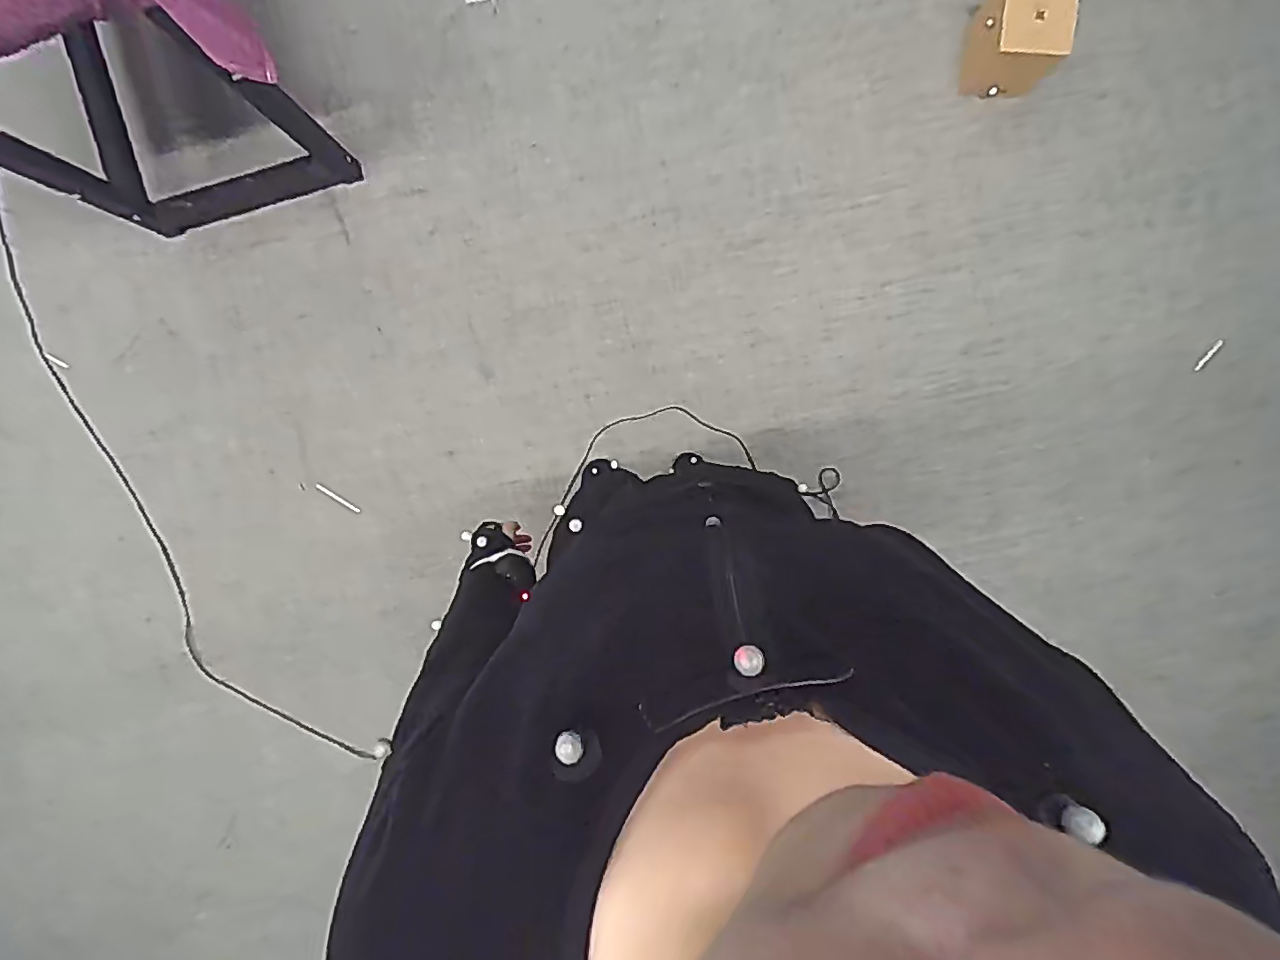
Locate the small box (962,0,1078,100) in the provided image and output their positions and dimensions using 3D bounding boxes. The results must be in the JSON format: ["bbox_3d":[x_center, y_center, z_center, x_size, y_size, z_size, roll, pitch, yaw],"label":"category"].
[{"bbox_3d":[0.920,-1.078,1.321,0.168,0.176,0.179,5,95,1],"label":"small box"}]
